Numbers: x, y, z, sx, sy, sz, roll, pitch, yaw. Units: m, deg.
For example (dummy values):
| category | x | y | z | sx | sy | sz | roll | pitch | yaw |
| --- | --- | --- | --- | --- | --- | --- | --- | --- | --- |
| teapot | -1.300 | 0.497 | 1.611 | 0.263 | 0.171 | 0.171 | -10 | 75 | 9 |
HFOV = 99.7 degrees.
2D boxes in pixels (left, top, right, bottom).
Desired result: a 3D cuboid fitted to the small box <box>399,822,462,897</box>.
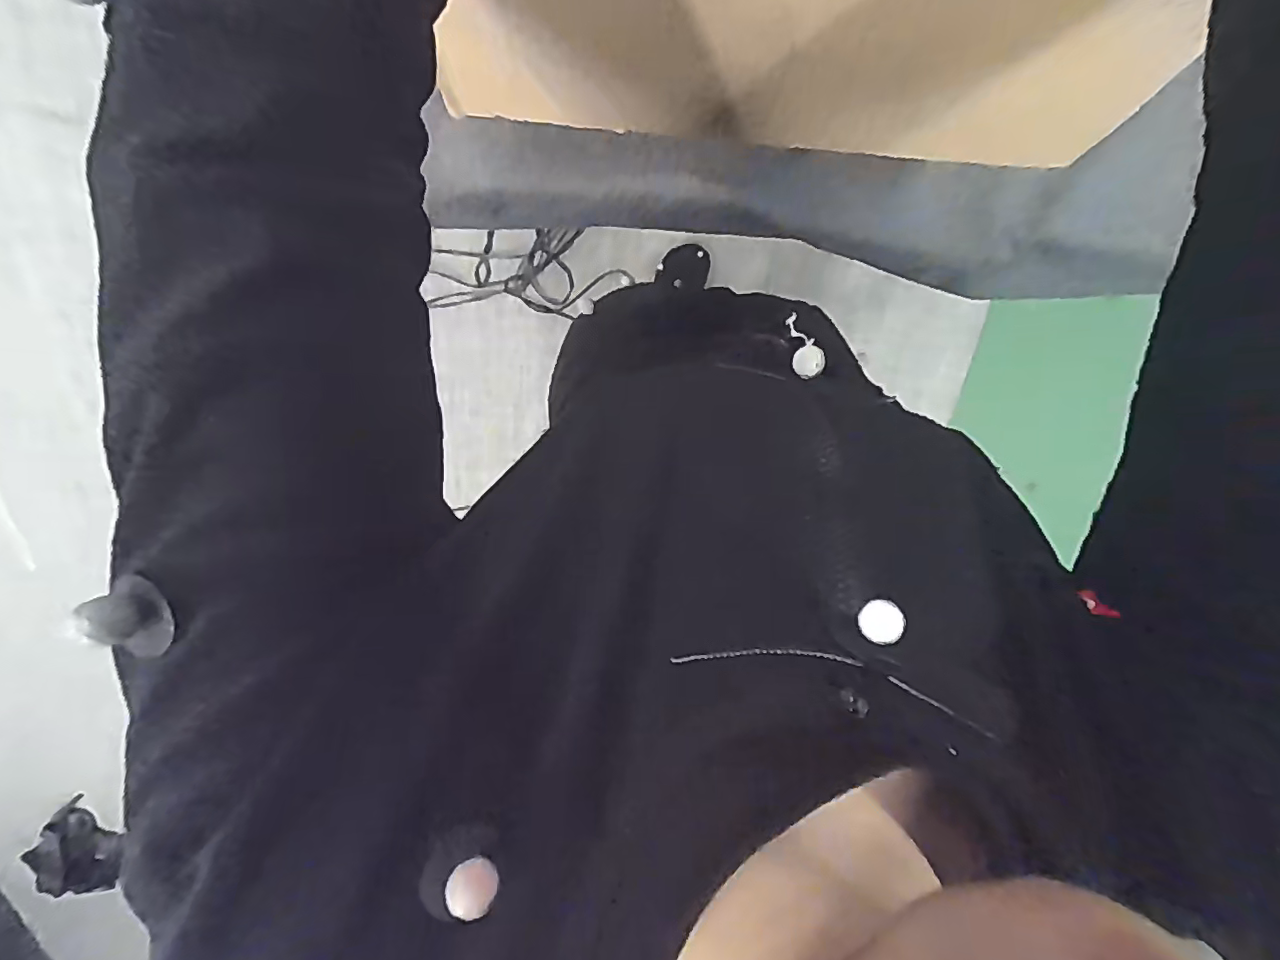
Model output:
| category | x | y | z | sx | sy | sz | roll | pitch | yaw |
| --- | --- | --- | --- | --- | --- | --- | --- | --- | --- |
| small box | -0.775 | 1.408 | 2.014 | 0.179 | 0.176 | 0.168 | 6 | 115 | -3 |
